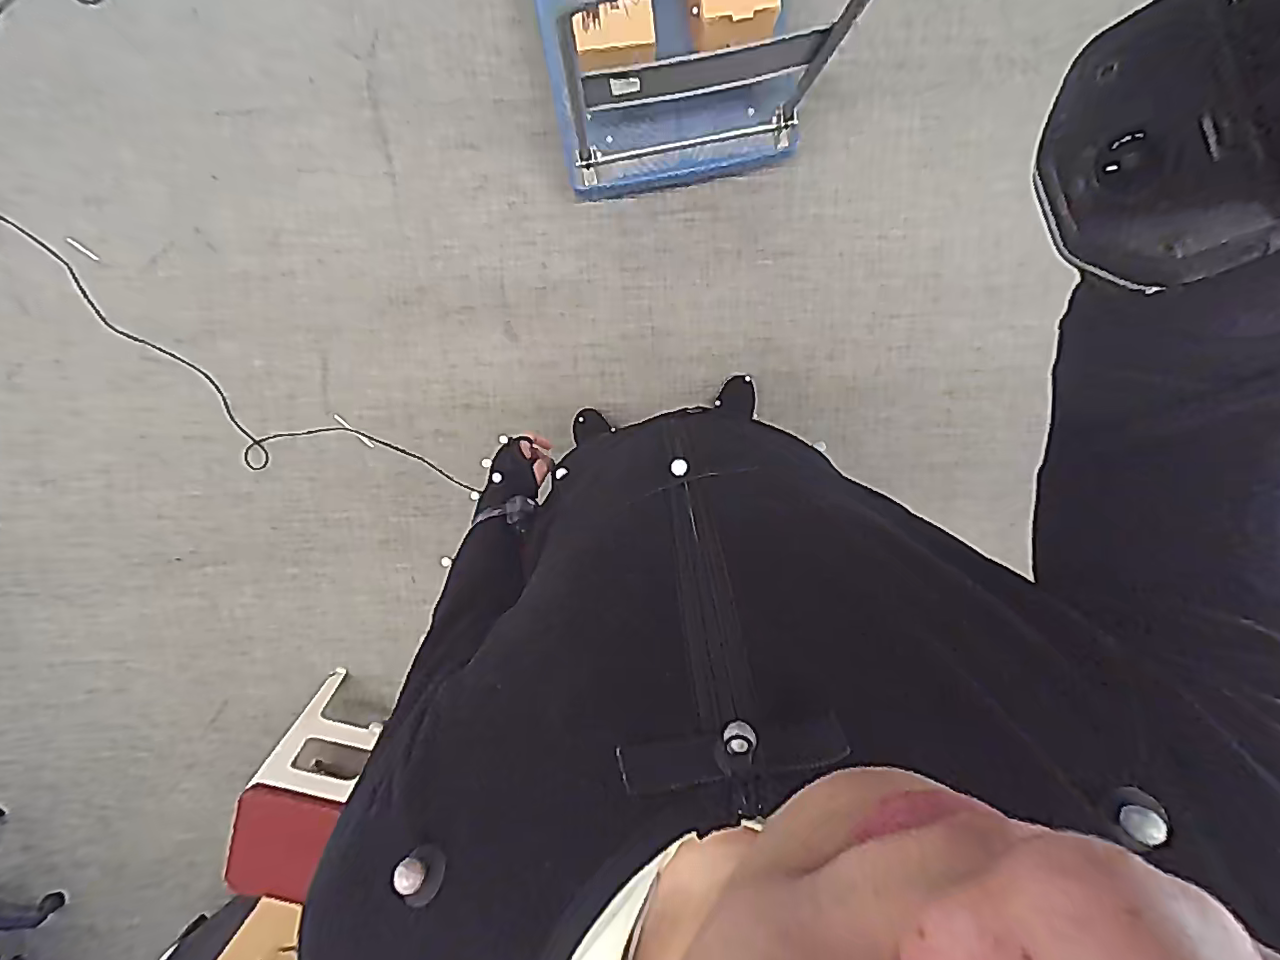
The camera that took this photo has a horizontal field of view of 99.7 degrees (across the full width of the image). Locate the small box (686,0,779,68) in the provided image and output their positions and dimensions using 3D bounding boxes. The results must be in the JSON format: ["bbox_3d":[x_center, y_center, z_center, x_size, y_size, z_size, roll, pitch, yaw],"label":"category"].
[{"bbox_3d":[0.200,-1.078,1.214,0.168,0.176,0.179,-10,100,1],"label":"small box"}]
